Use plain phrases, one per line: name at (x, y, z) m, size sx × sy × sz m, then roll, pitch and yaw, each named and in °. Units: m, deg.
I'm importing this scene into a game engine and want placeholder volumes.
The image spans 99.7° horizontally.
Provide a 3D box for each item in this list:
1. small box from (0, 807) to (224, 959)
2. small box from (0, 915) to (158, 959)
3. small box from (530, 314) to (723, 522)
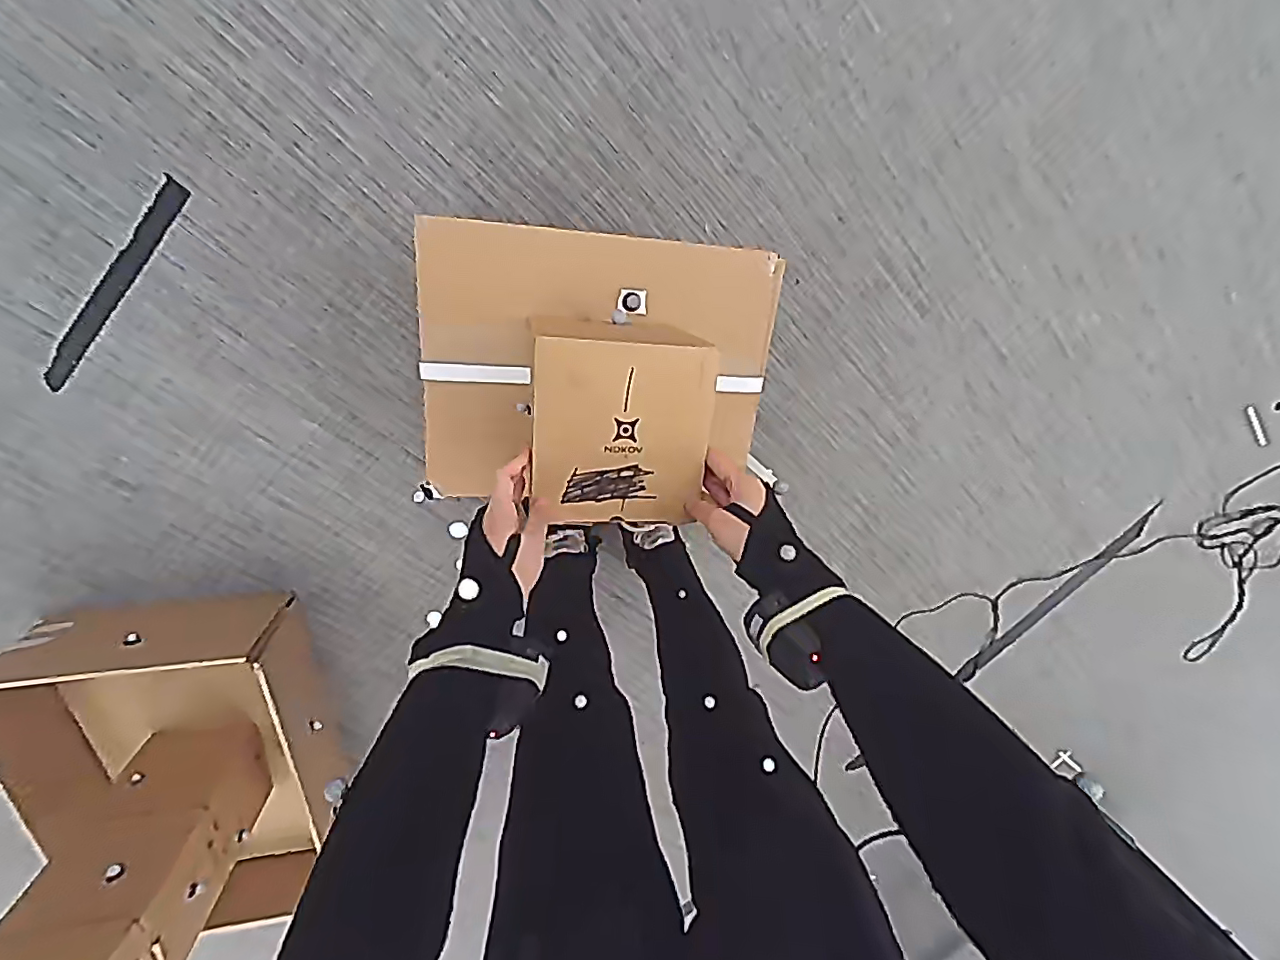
small box at (-0.761, 0.622, 0.806) m, size 0.179 × 0.176 × 0.168 m, roll 0°, pitch 111°, yaw -12°
small box at (-0.738, 0.676, 0.653) m, size 0.179 × 0.176 × 0.168 m, roll 0°, pitch 111°, yaw -11°
small box at (-0.028, -0.070, 0.568) m, size 0.168 × 0.176 × 0.179 m, roll 1°, pitch 111°, yaw -13°
